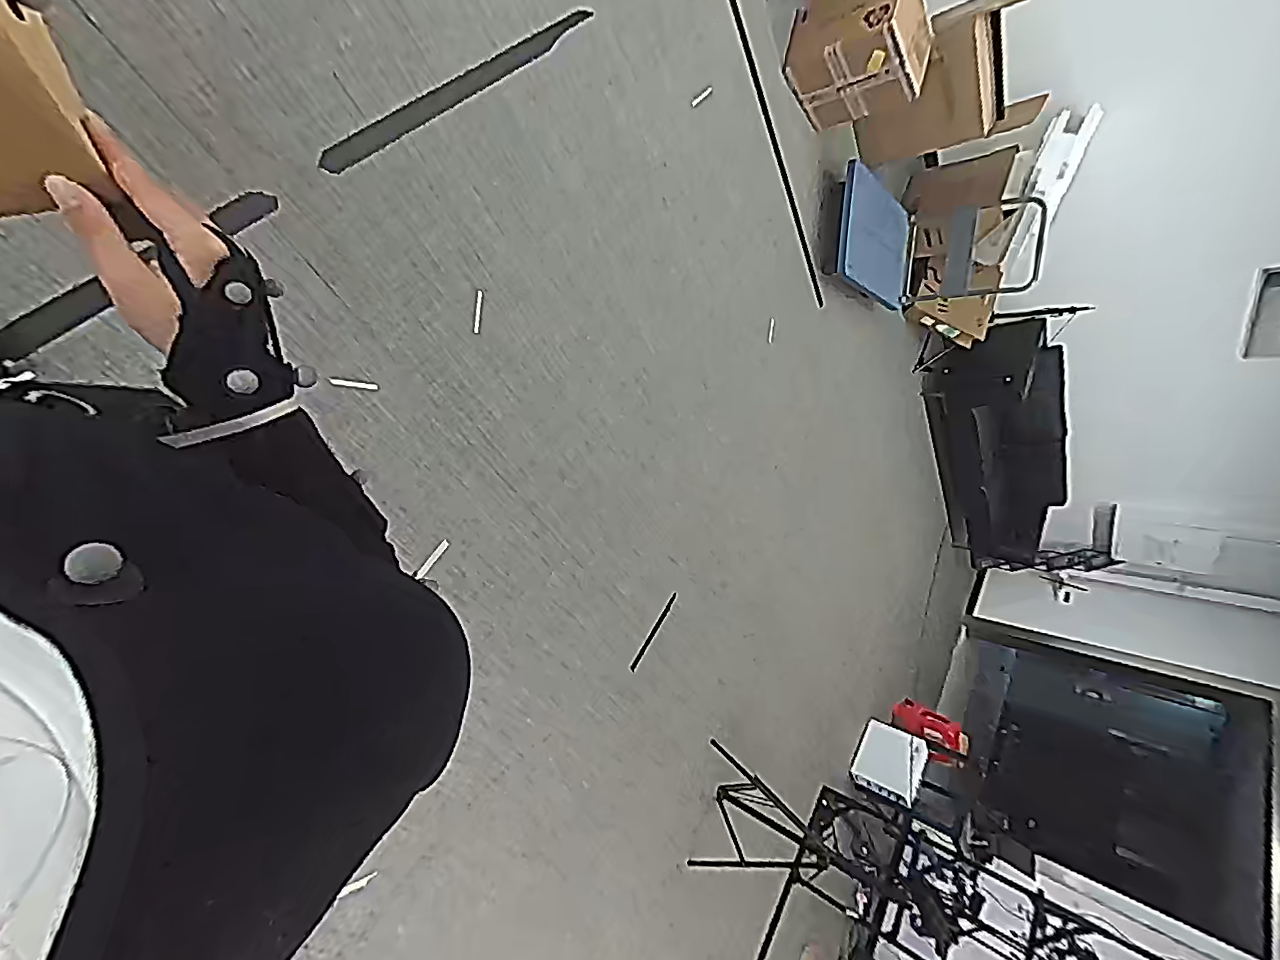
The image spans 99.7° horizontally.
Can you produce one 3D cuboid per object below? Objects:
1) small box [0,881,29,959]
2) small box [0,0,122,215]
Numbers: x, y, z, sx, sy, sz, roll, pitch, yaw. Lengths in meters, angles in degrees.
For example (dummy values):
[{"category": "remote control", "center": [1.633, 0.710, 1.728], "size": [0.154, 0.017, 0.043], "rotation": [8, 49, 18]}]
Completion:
[{"category": "small box", "center": [-1.137, 0.776, 0.858], "size": [0.168, 0.176, 0.179], "rotation": [50, 60, -40]}, {"category": "small box", "center": [-0.381, -0.227, 0.216], "size": [0.179, 0.168, 0.176], "rotation": [-26, 76, -24]}]
